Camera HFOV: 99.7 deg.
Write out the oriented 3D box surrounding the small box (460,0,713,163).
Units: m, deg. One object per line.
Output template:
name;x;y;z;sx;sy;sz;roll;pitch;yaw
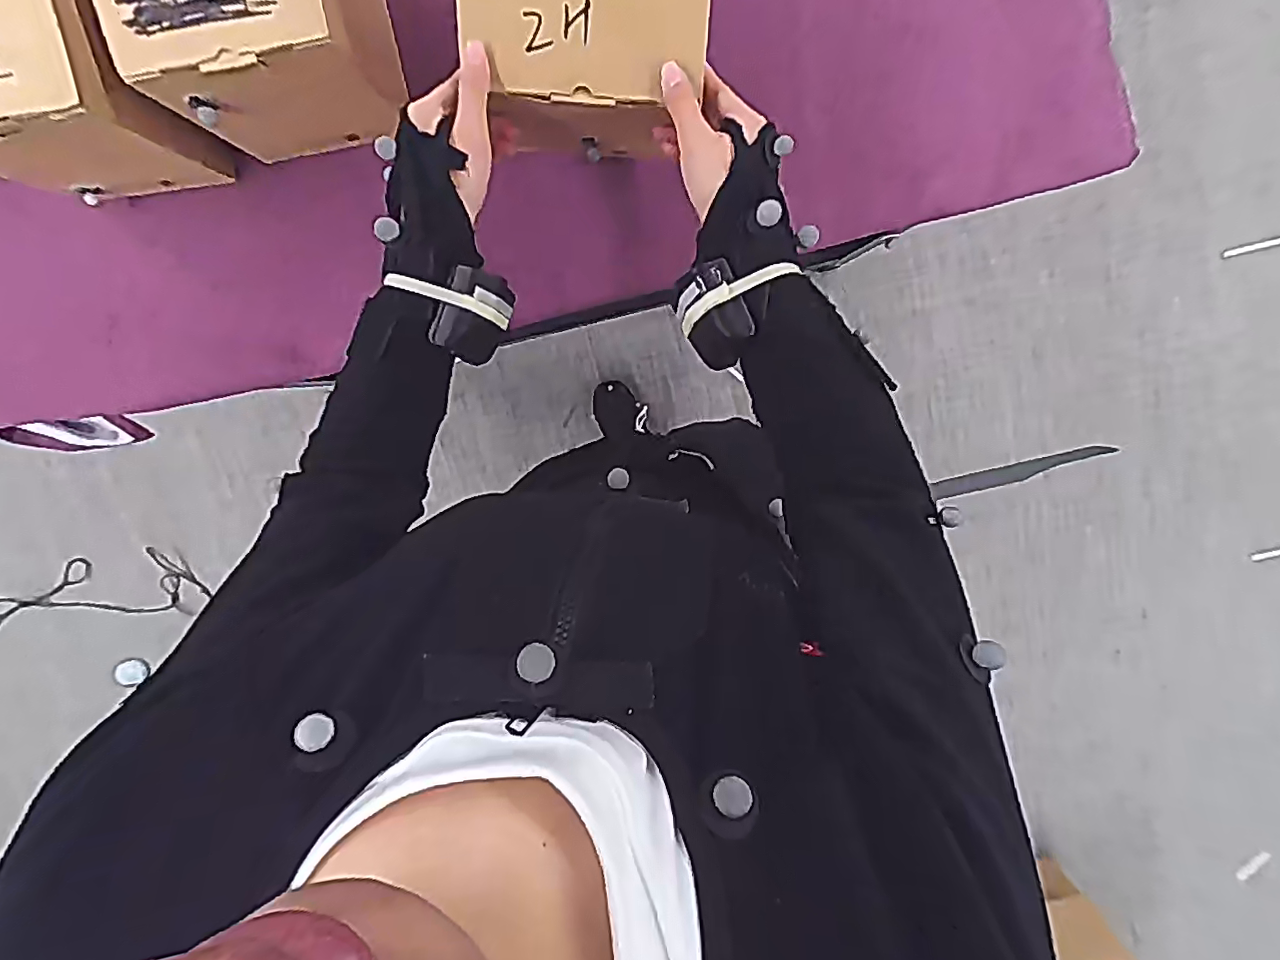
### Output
small box;-0.034;-0.366;0.415;0.168;0.176;0.179;3;109;-1
